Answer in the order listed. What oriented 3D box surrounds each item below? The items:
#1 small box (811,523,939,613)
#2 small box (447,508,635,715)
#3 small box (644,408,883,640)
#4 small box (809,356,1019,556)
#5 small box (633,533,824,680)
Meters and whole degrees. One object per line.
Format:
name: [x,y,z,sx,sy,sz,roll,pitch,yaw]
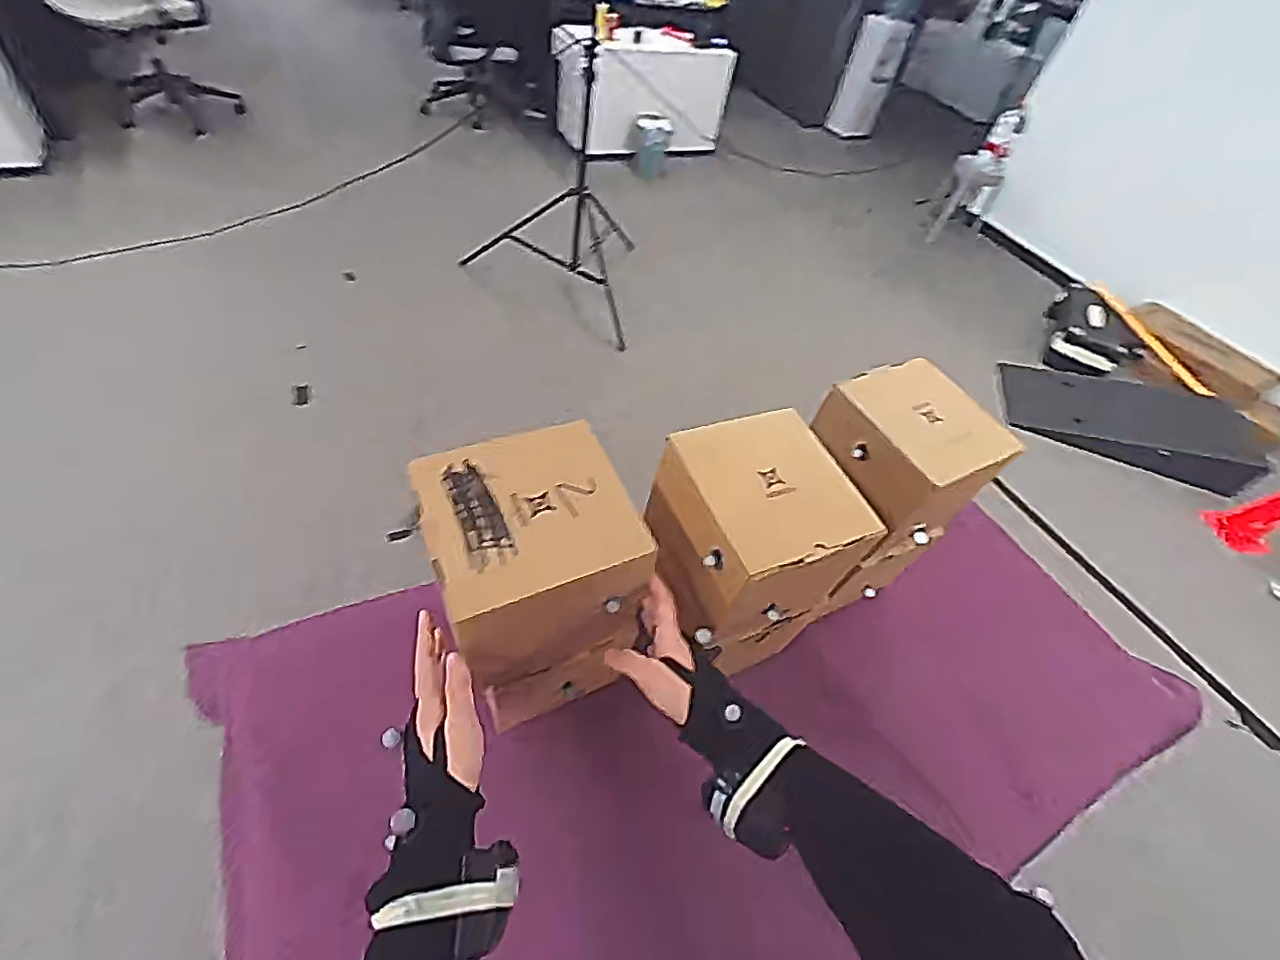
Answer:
small box: [0.301,0.074,0.834,0.168,0.176,0.179,-17,58,-23]
small box: [-0.124,0.168,0.666,0.168,0.176,0.179,-17,58,-23]
small box: [0.119,0.049,0.604,0.168,0.176,0.179,-15,57,-22]
small box: [0.330,-0.031,0.714,0.168,0.176,0.179,-19,59,-24]
small box: [0.106,0.149,0.733,0.168,0.176,0.179,-17,57,-24]
